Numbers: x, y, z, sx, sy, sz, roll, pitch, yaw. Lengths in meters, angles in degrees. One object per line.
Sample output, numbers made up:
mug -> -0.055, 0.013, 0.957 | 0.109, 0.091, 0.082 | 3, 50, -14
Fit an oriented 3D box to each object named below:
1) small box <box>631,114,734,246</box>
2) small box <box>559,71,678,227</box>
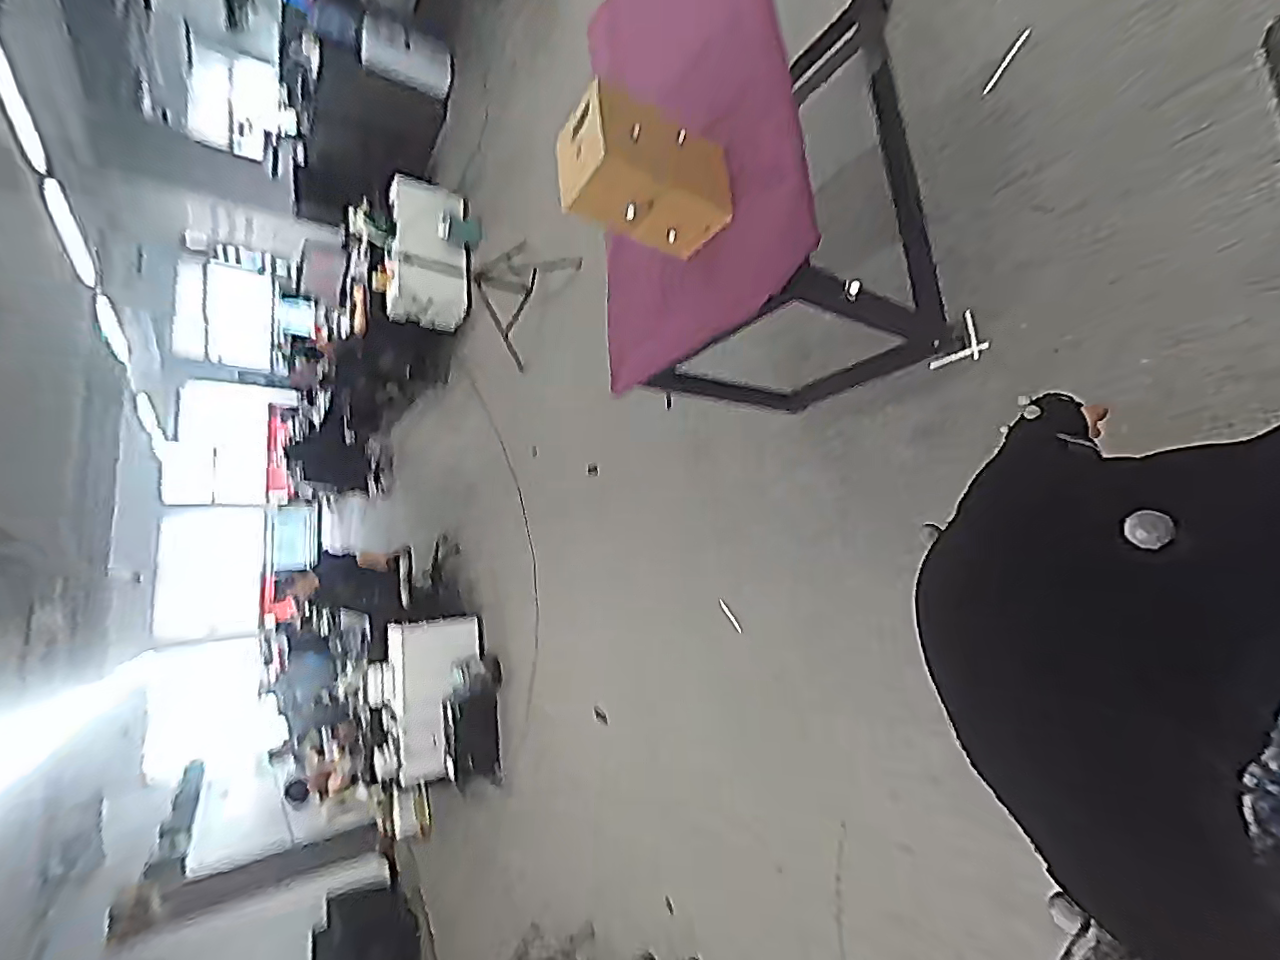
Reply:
small box -> 0.086, -0.636, 1.178 | 0.168, 0.176, 0.179 | -22, 70, 51
small box -> -0.044, -0.644, 1.077 | 0.168, 0.176, 0.179 | -23, 70, 52
